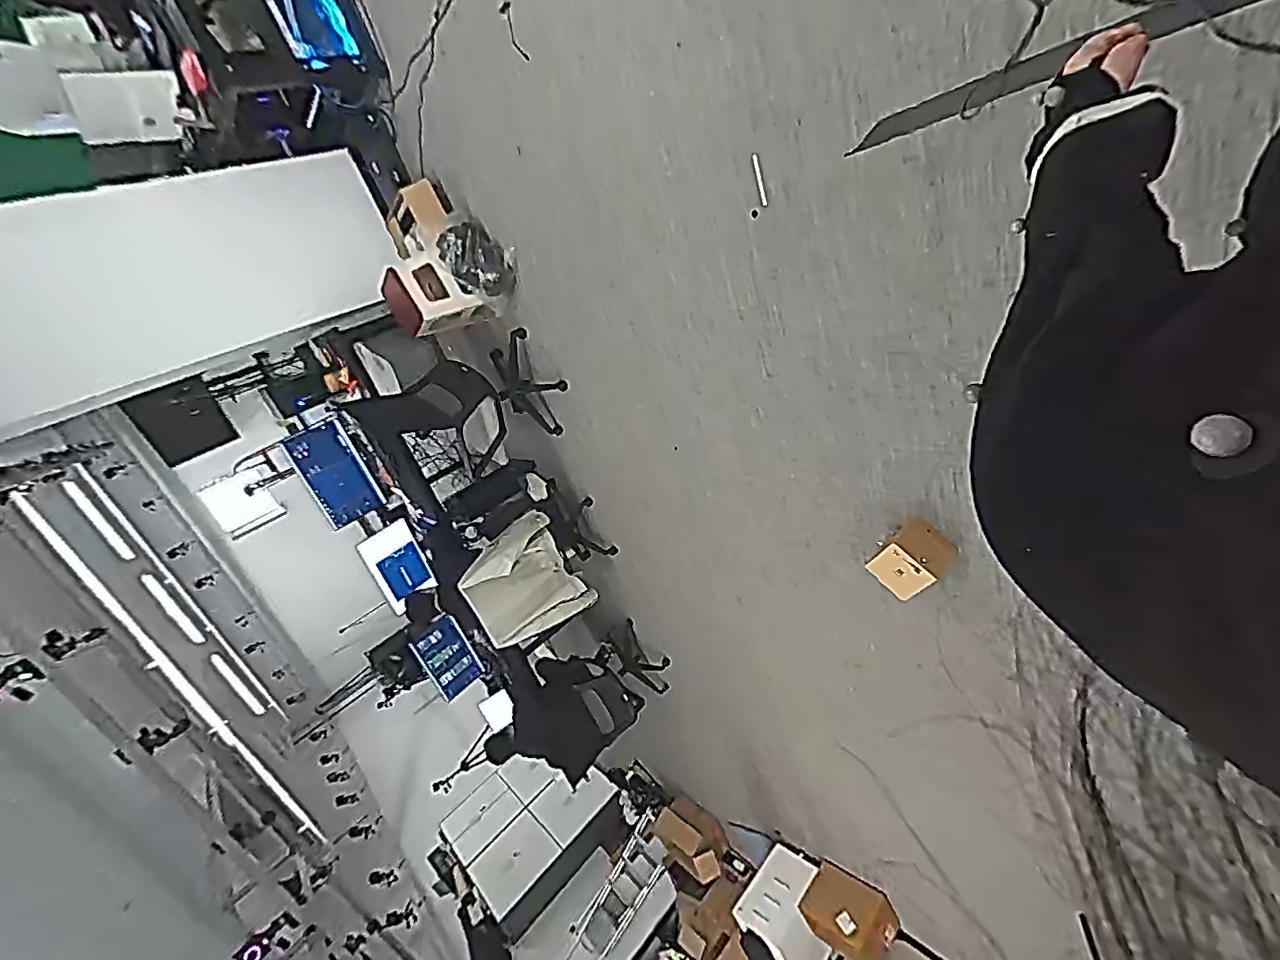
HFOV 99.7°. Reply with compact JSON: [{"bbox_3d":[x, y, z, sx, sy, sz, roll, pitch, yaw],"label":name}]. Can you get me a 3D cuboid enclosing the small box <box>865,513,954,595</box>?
[{"bbox_3d":[0.890,0.242,1.783,0.168,0.176,0.179,44,148,17],"label":"small box"}]
